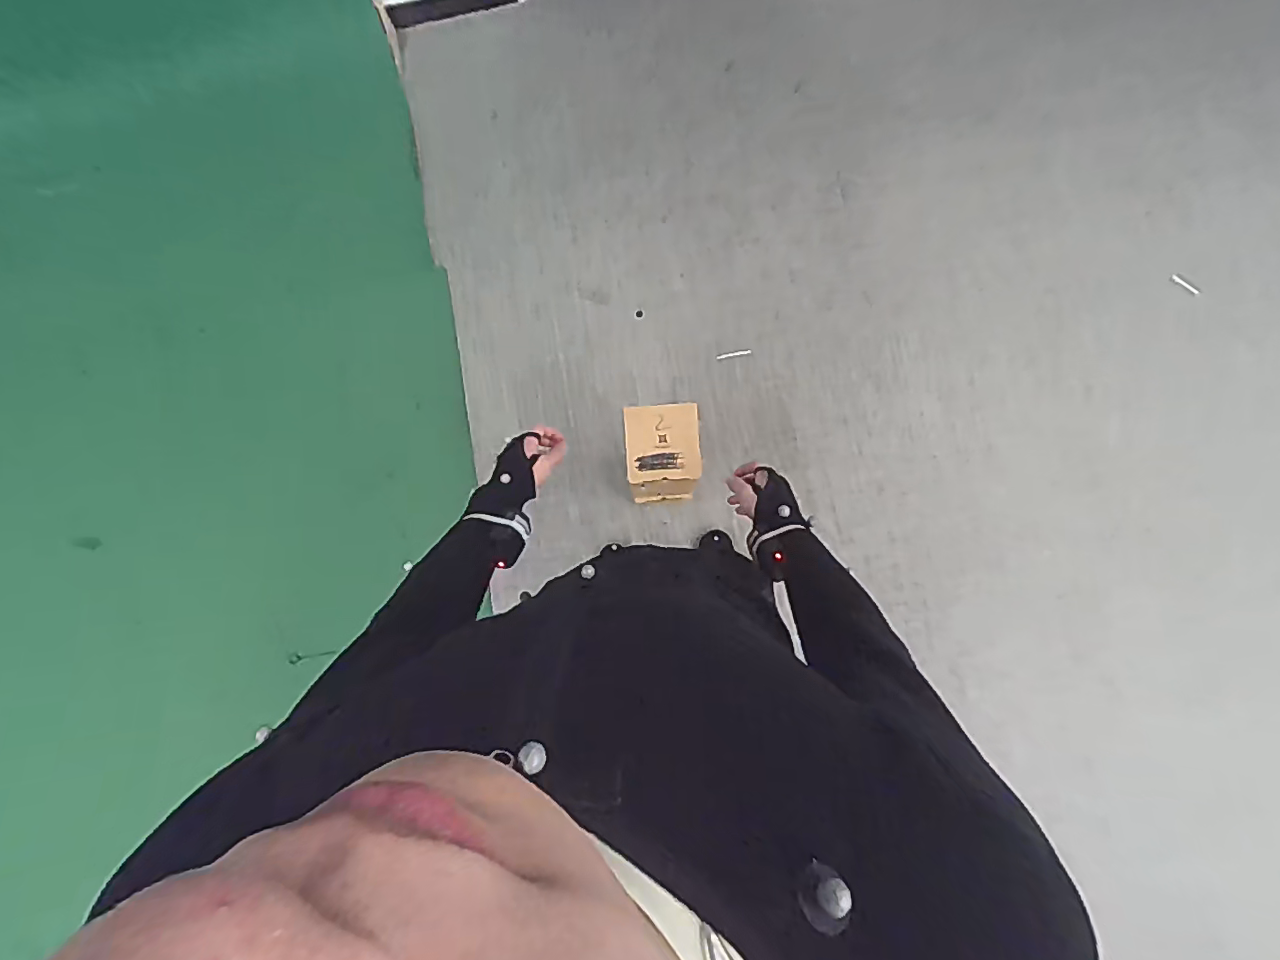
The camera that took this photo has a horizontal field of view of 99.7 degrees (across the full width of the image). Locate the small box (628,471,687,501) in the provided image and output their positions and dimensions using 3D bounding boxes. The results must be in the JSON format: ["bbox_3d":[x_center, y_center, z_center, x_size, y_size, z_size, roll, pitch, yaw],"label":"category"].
[{"bbox_3d":[0.049,-0.031,1.594,0.168,0.176,0.179,-5,83,1],"label":"small box"}]

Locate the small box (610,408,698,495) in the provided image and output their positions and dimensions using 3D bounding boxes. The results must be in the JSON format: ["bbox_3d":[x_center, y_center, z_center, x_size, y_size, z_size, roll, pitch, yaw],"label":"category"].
[{"bbox_3d":[0.039,-0.068,1.444,0.179,0.176,0.168,27,87,5],"label":"small box"}]
